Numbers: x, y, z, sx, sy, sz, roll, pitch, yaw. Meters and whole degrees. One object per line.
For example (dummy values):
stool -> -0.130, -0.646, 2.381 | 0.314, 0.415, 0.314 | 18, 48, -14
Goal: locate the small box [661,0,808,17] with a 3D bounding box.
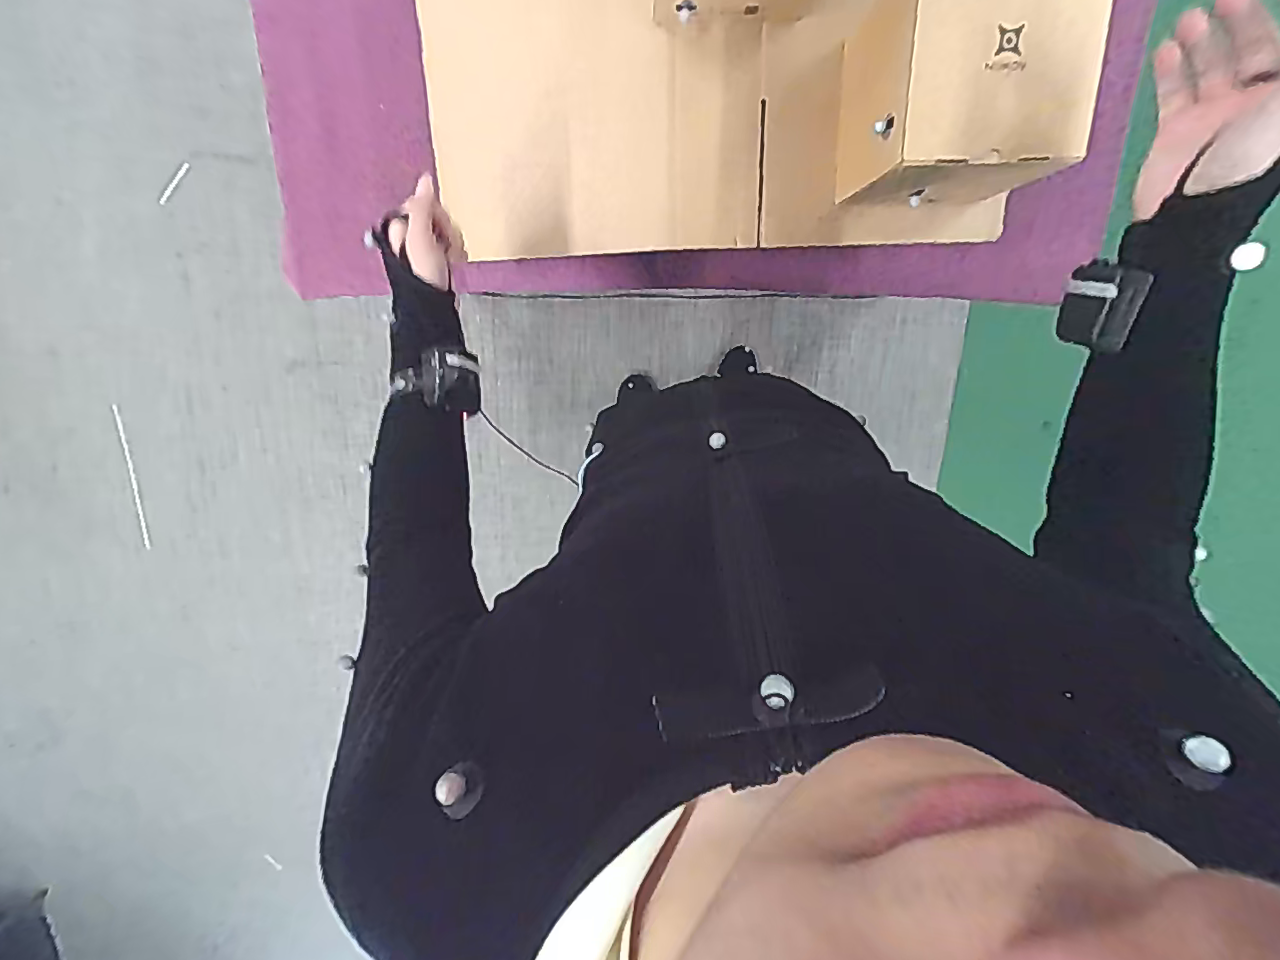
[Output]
small box -> 0.094, -0.553, 0.479 | 0.168, 0.176, 0.179 | -2, 104, -1

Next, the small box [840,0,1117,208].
small box -> 0.309, -0.382, 0.530 | 0.168, 0.176, 0.179 | -2, 106, 0
